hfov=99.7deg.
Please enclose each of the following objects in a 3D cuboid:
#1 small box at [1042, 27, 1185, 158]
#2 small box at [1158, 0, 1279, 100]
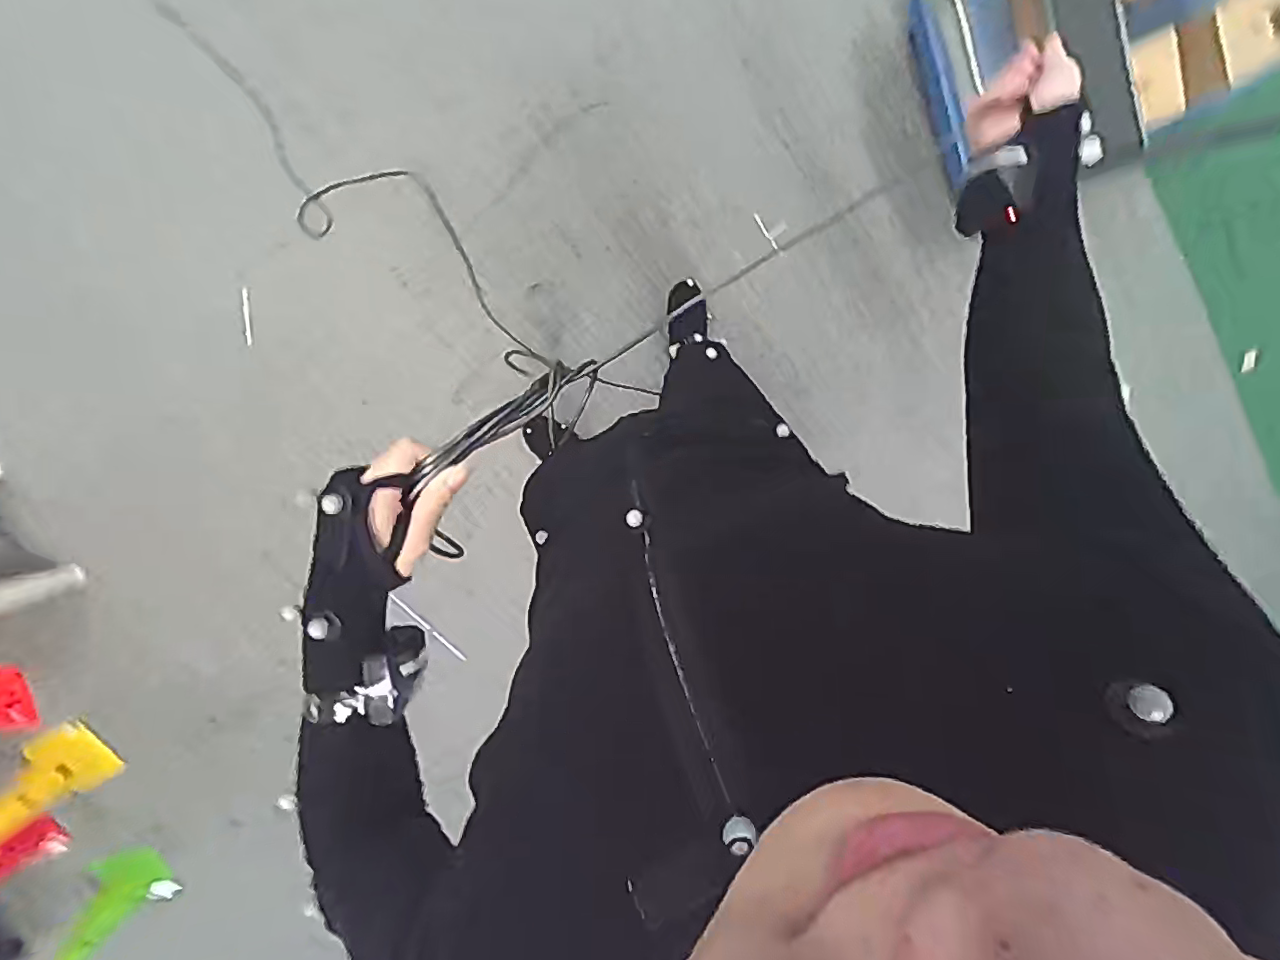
[{"bbox_3d":[1.093,-0.889,1.258,0.179,0.176,0.168,-26,106,2],"label":"small box"},{"bbox_3d":[1.334,-1.013,1.250,0.179,0.176,0.168,-31,105,3],"label":"small box"}]
